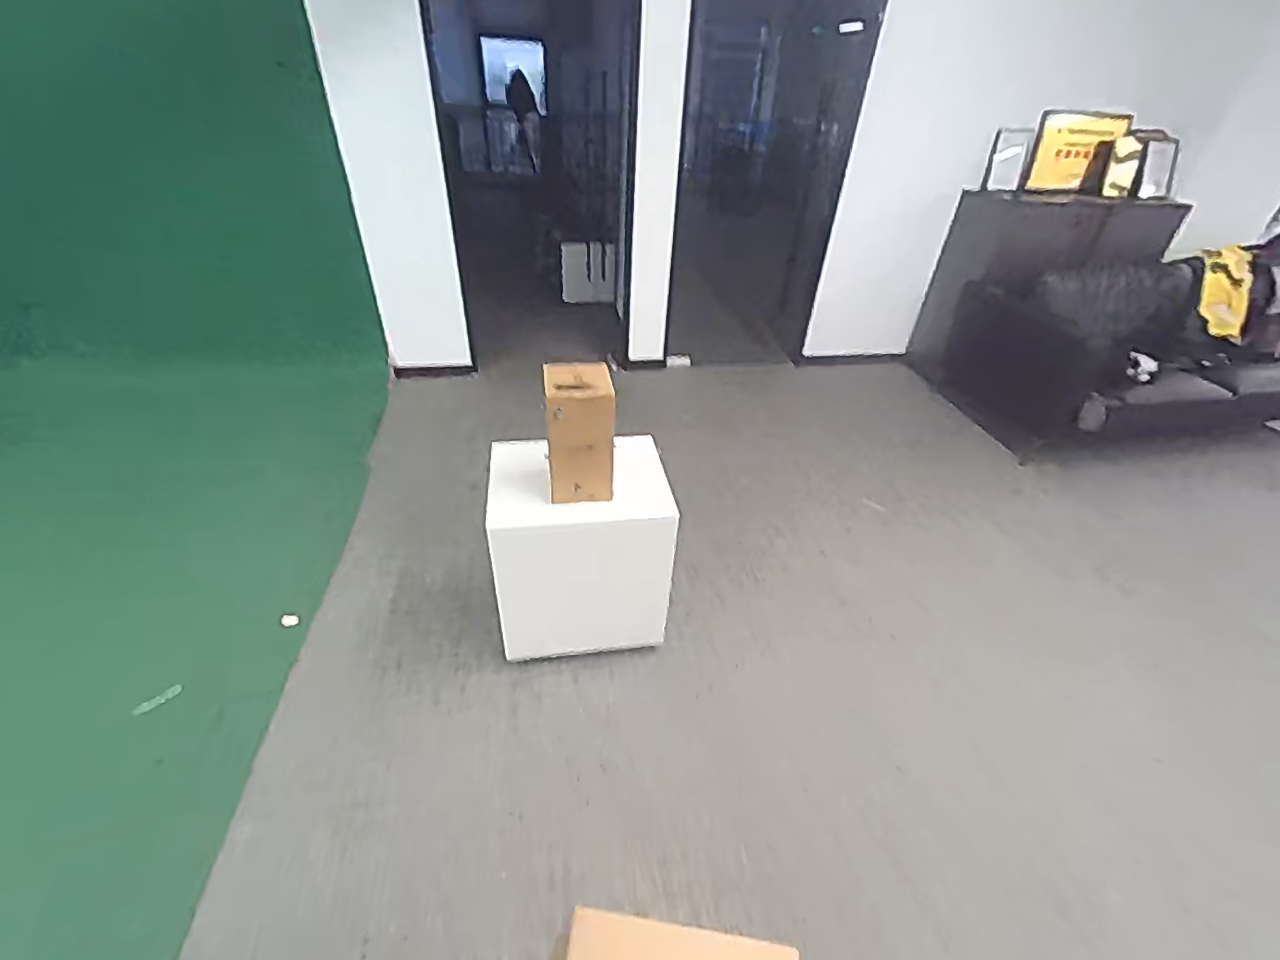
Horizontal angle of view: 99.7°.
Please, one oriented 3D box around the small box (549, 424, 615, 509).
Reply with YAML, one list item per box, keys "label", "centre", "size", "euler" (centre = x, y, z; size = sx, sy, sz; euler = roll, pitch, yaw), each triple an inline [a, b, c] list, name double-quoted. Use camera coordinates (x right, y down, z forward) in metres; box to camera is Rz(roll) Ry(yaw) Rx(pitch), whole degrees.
- label: "small box"
  centre: [-0.163, -0.039, 1.481]
  size: [0.168, 0.176, 0.179]
  euler: [-4, 35, -10]
